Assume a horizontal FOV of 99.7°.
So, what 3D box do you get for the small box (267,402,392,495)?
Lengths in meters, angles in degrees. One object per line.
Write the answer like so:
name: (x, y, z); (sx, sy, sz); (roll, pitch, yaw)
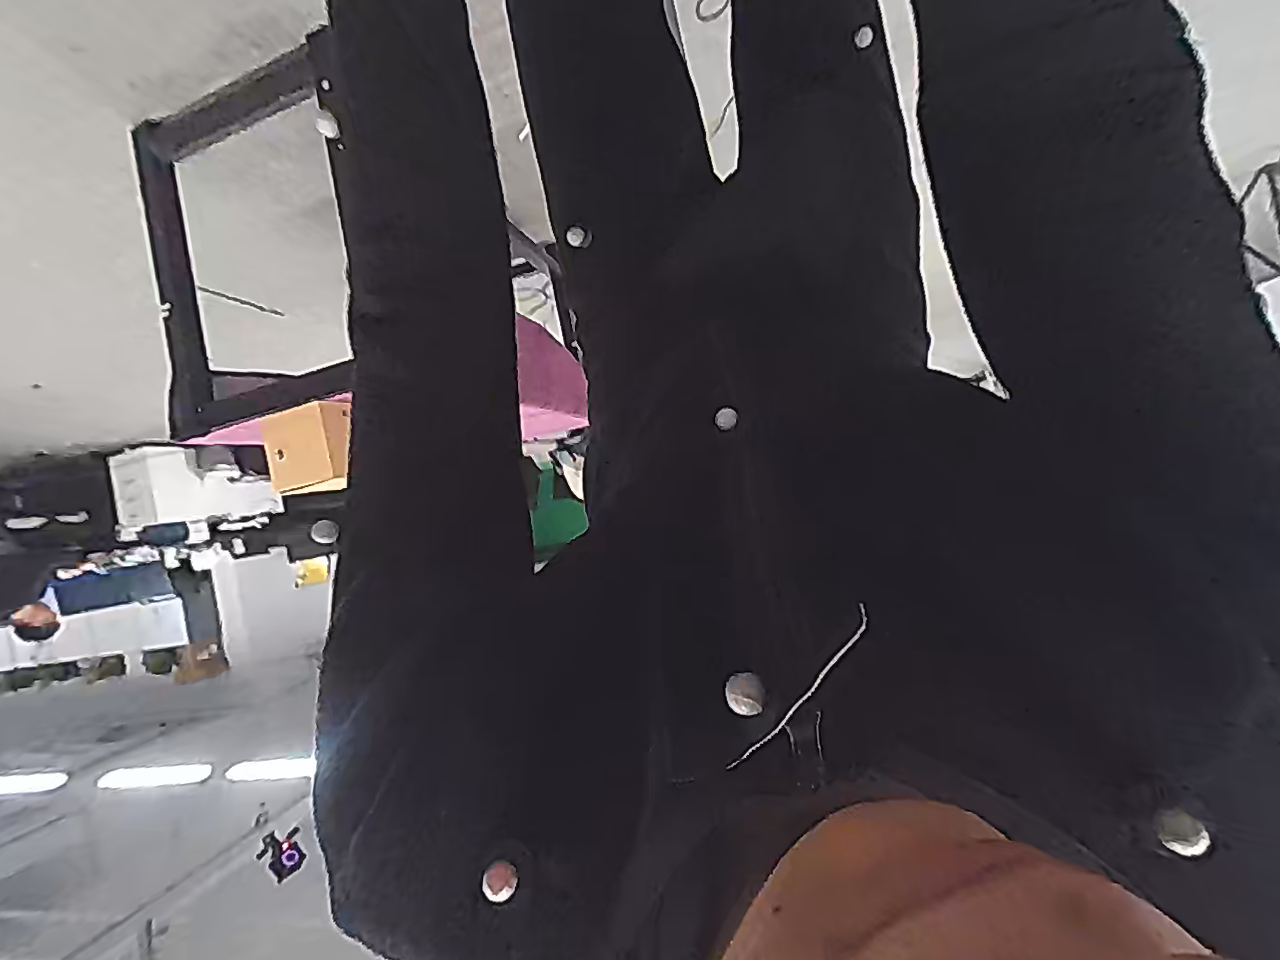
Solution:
small box: (-0.689, -0.069, 1.198); (0.179, 0.176, 0.168); (-11, -179, 19)
